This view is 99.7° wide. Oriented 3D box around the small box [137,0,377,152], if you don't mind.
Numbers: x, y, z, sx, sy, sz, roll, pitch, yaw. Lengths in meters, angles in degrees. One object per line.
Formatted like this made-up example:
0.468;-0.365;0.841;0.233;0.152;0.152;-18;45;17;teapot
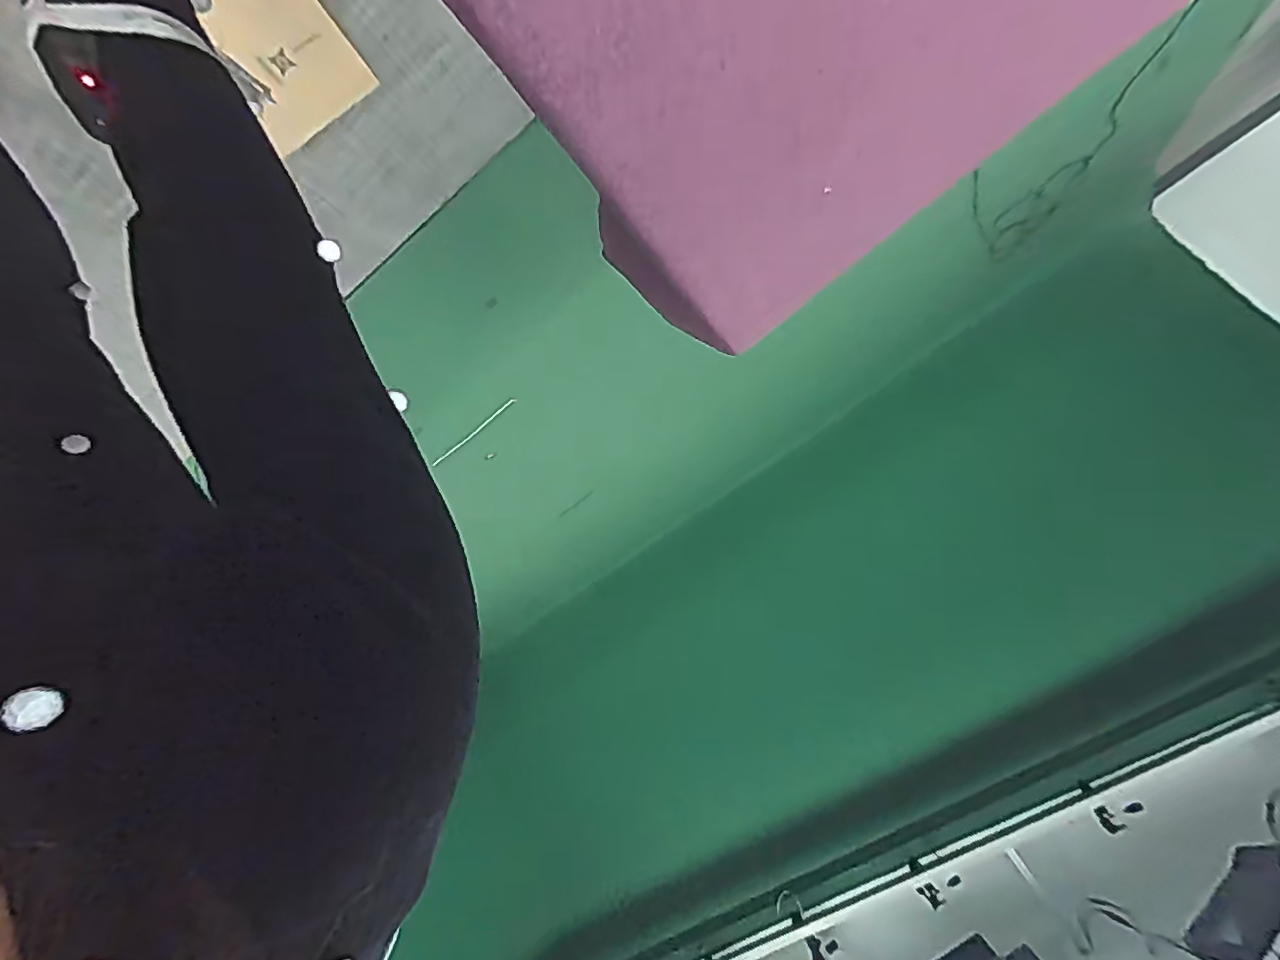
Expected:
-0.469;-0.562;0.661;0.179;0.176;0.168;-34;161;5;small box
